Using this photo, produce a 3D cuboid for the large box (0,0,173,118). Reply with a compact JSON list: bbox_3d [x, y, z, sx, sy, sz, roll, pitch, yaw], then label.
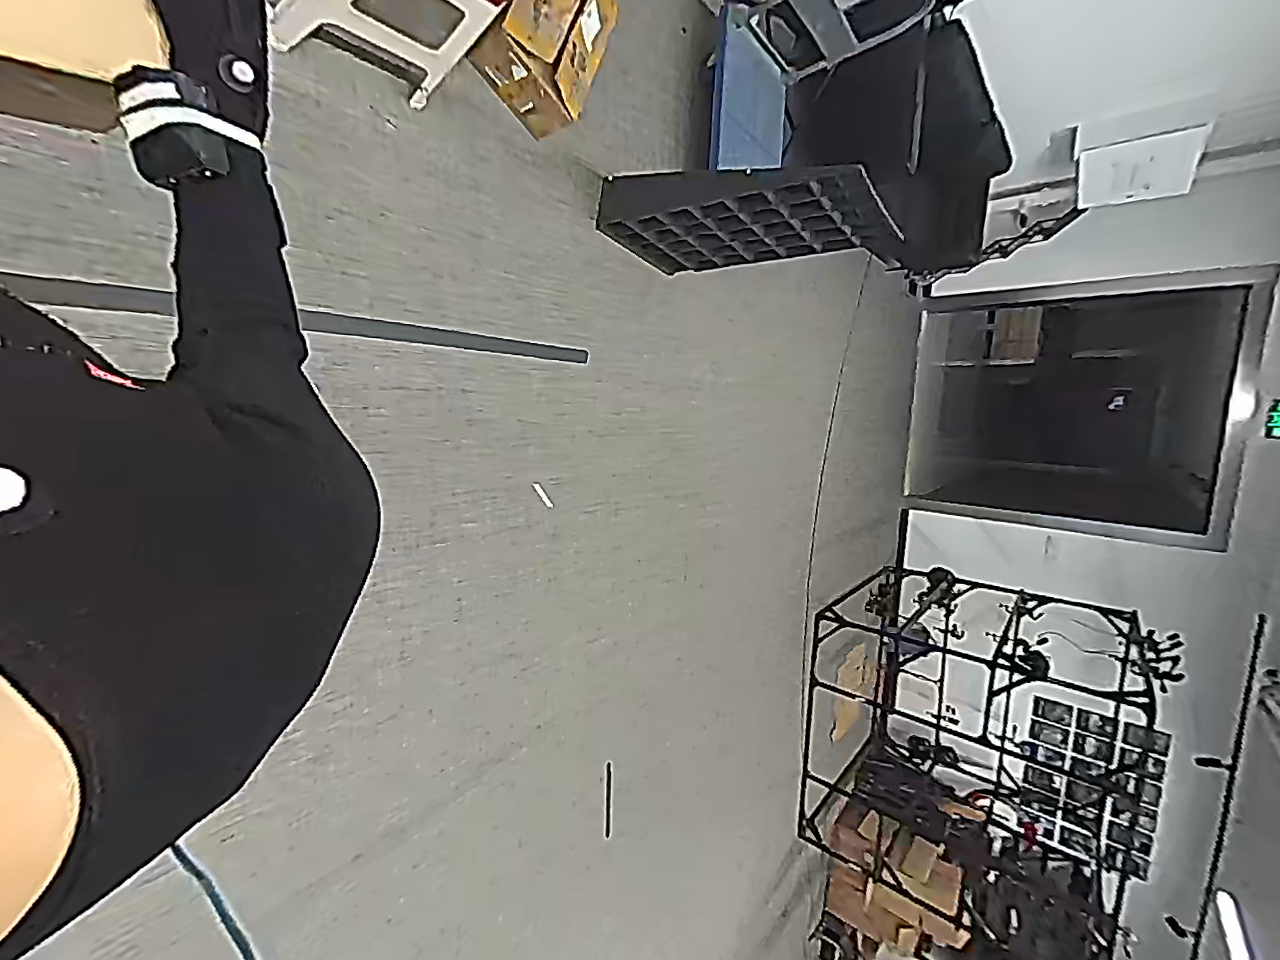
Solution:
[{"bbox_3d":[-0.577,-0.438,0.292,0.408,0.320,0.320,-19,122,-48],"label":"large box"}]
